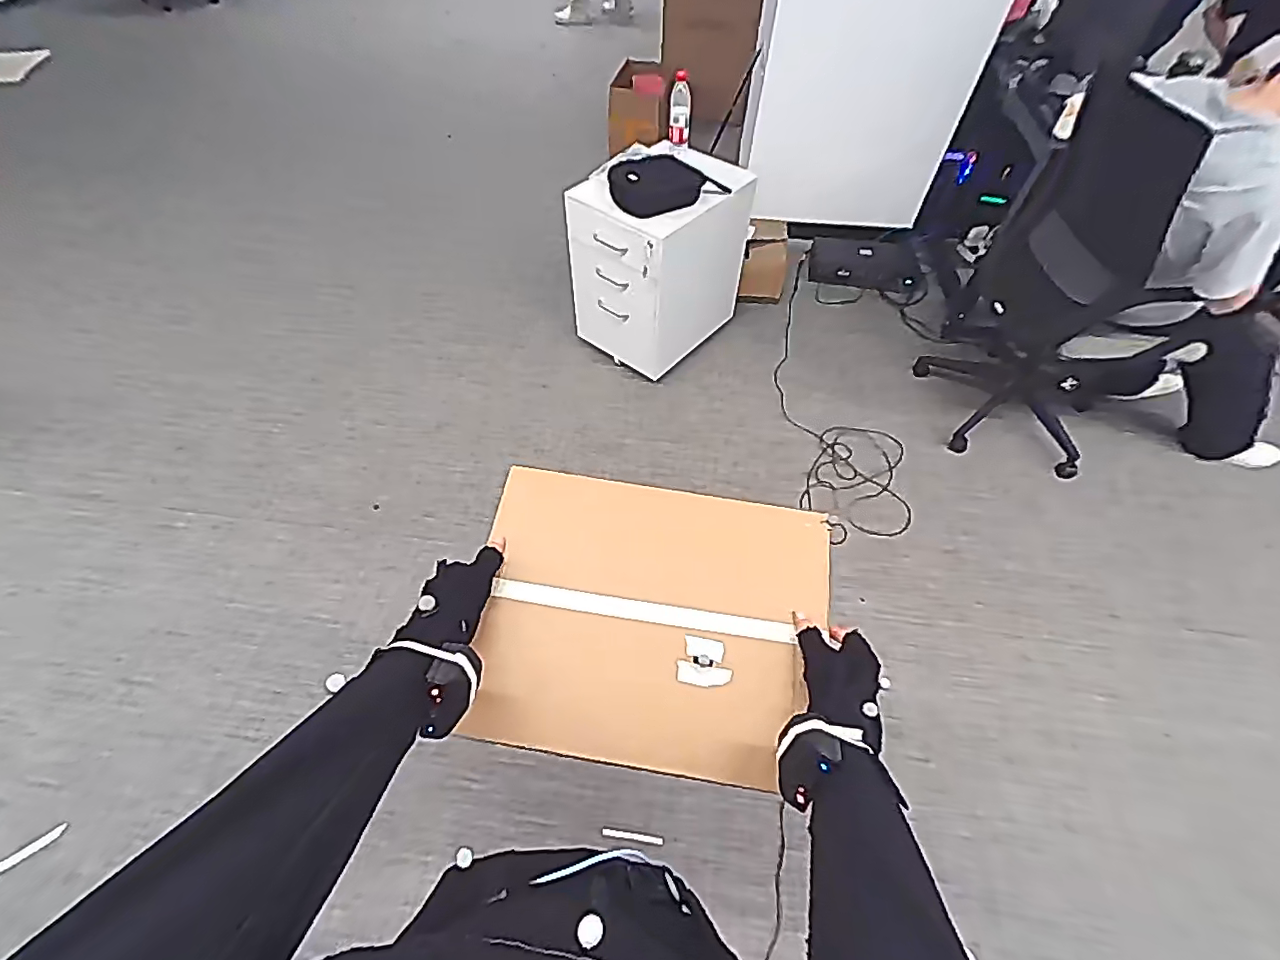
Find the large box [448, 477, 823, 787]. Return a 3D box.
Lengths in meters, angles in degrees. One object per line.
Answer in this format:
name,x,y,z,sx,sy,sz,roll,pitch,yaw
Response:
large box,0.005,0.222,0.761,0.408,0.320,0.320,9,64,2
